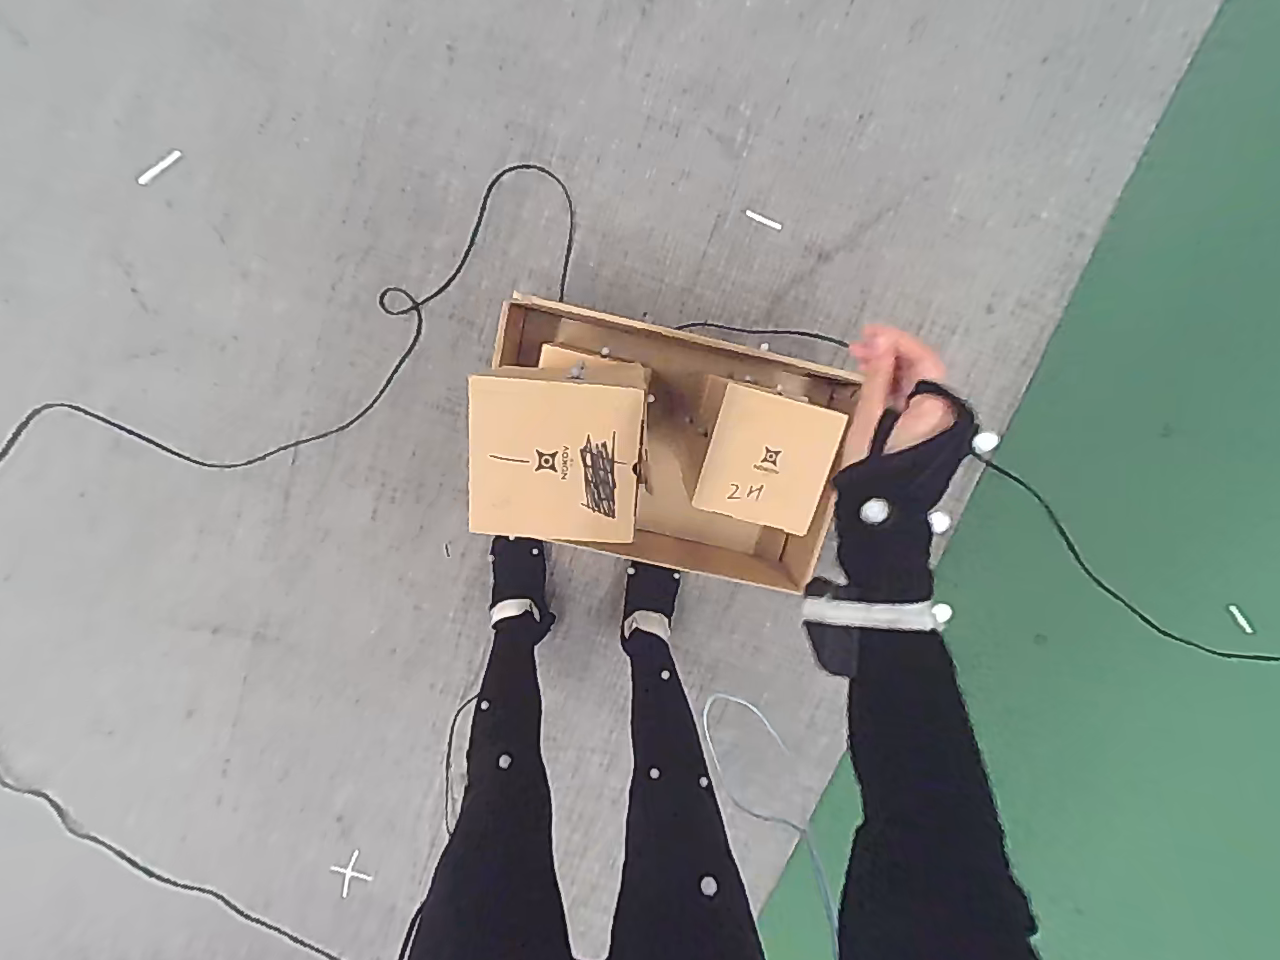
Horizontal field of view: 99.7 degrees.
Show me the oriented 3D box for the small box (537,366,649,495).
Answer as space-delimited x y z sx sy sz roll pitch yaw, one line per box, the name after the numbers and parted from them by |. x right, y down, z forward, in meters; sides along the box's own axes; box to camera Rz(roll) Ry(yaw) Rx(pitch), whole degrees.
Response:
-0.081 -0.076 0.787 0.179 0.176 0.168 -3 105 0 | small box

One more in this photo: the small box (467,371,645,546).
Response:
-0.090 -0.035 0.628 0.179 0.176 0.168 4 104 -2 | small box

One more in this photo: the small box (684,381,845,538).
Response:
0.167 -0.041 0.793 0.168 0.176 0.179 15 104 -3 | small box

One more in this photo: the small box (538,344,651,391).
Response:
-0.088 -0.134 0.940 0.179 0.176 0.168 13 104 -6 | small box
